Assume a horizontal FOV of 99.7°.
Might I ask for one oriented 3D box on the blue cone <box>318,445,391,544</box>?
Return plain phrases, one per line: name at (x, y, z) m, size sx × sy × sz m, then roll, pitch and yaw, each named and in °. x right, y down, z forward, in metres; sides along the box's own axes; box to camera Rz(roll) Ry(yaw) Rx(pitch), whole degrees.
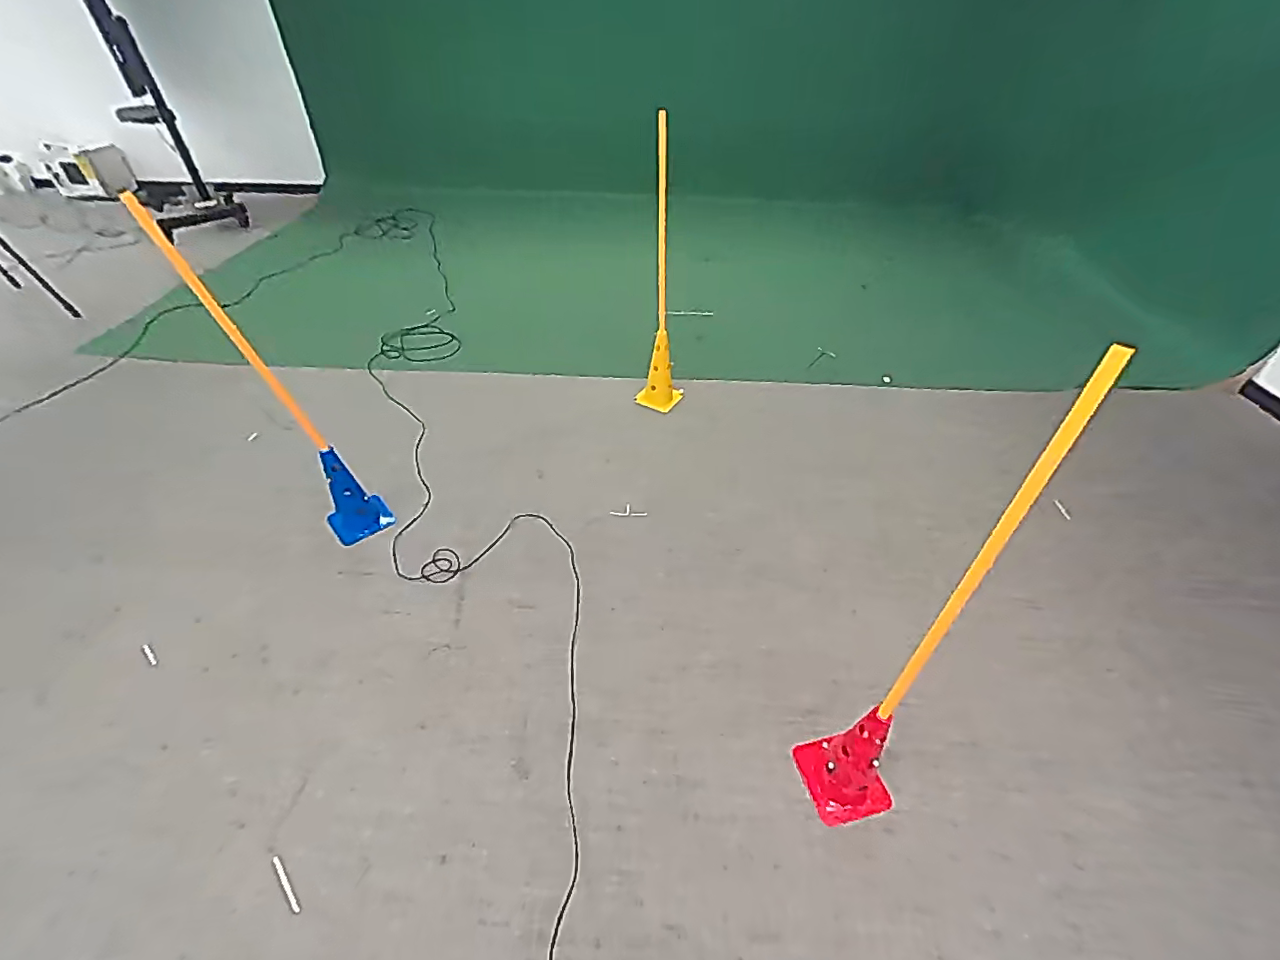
blue cone at (-1.057, 0.035, 1.931) m, size 0.193 × 0.380 × 0.192 m, roll -33°, pitch 53°, yaw -30°
